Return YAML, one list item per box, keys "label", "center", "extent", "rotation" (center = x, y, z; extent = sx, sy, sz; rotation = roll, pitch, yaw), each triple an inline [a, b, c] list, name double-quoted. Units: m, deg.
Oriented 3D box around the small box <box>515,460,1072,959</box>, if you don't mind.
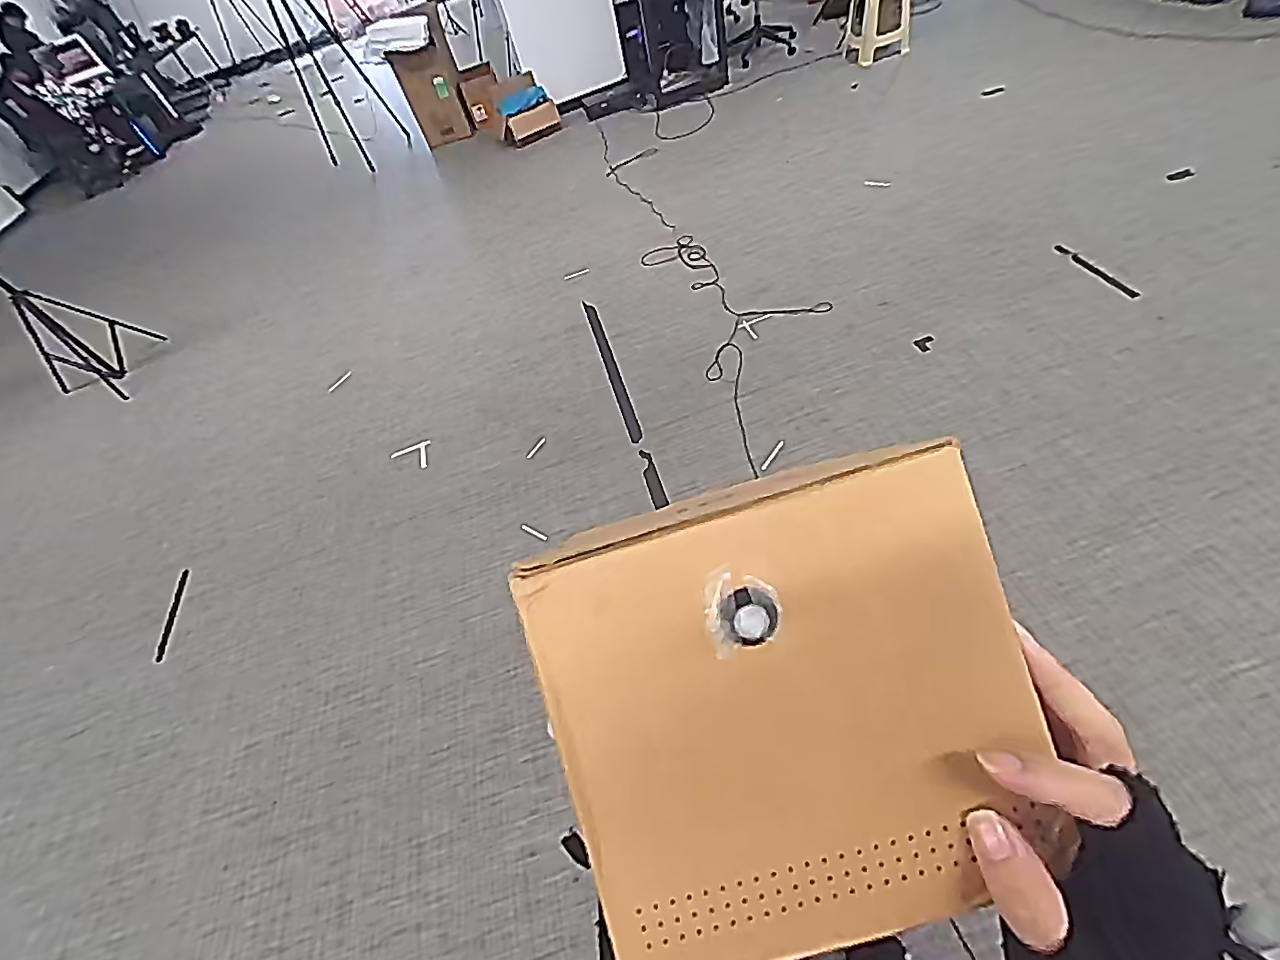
- label: "small box"
  center: [0.062, 0.099, 0.278]
  extent: [0.179, 0.168, 0.176]
  rotation: [-17, 88, 3]
